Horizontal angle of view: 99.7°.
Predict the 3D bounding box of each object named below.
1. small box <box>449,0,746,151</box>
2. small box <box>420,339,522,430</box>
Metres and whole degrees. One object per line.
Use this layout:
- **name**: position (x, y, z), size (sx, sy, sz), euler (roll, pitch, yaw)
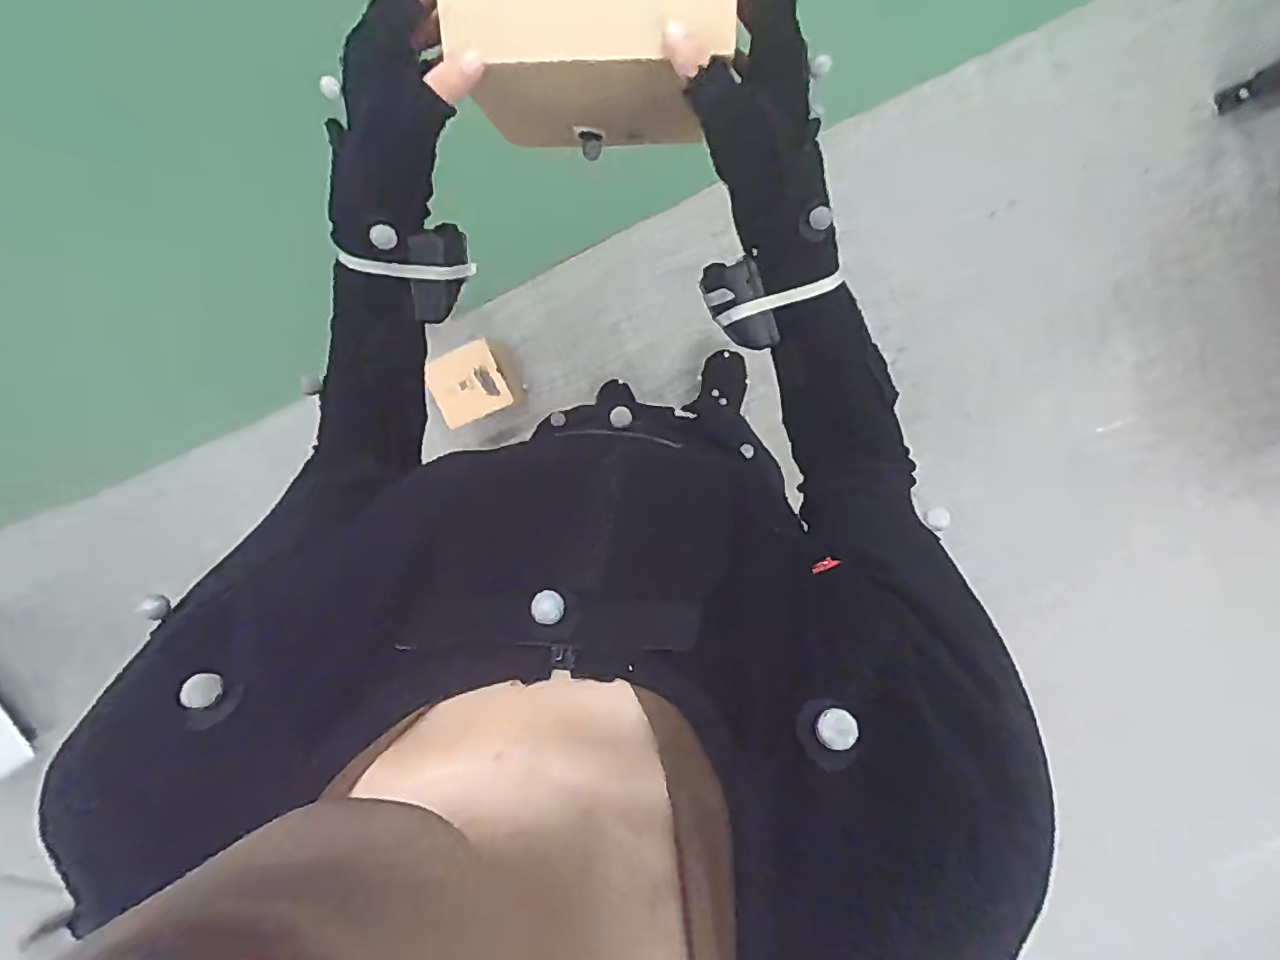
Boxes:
- **small box**: position (-0.023, -0.341, 0.356), size (0.168, 0.176, 0.179), euler (0, 107, 1)
- **small box**: position (-0.410, -0.241, 1.355), size (0.179, 0.176, 0.168), euler (-23, 100, 5)
